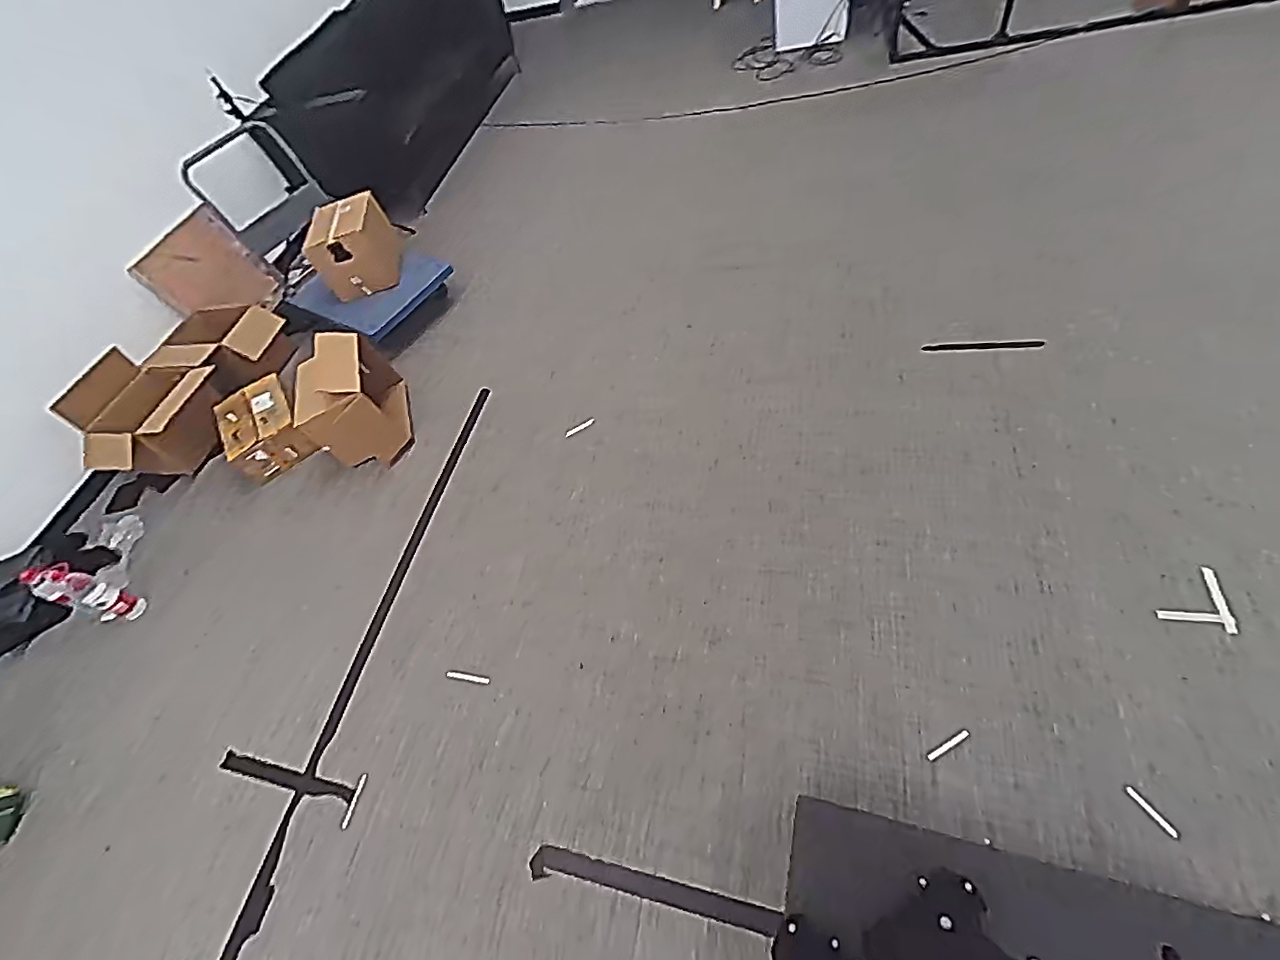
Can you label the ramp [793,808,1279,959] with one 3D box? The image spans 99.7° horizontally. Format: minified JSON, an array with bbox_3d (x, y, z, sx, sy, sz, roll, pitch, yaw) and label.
[{"bbox_3d":[0.785,0.992,0.983,0.991,0.206,0.509,2,55,17],"label":"ramp"}]
